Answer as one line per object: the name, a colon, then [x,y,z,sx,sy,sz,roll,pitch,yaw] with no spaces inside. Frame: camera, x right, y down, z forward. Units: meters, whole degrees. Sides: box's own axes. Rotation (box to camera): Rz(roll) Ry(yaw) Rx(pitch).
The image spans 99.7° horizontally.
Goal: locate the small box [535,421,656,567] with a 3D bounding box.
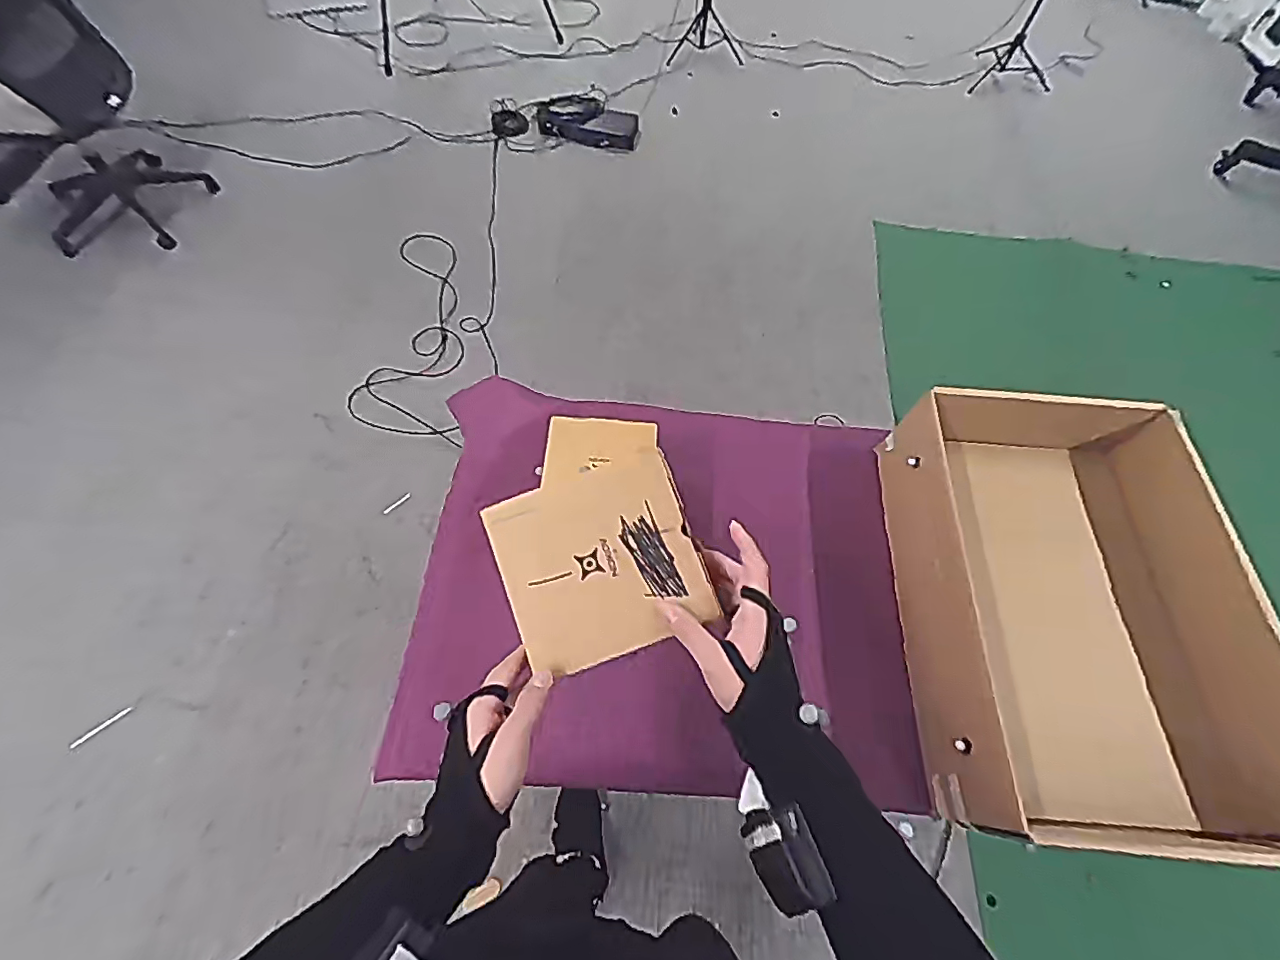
small box: [-0.063,0.029,0.863,0.168,0.176,0.179,4,60,-1]
